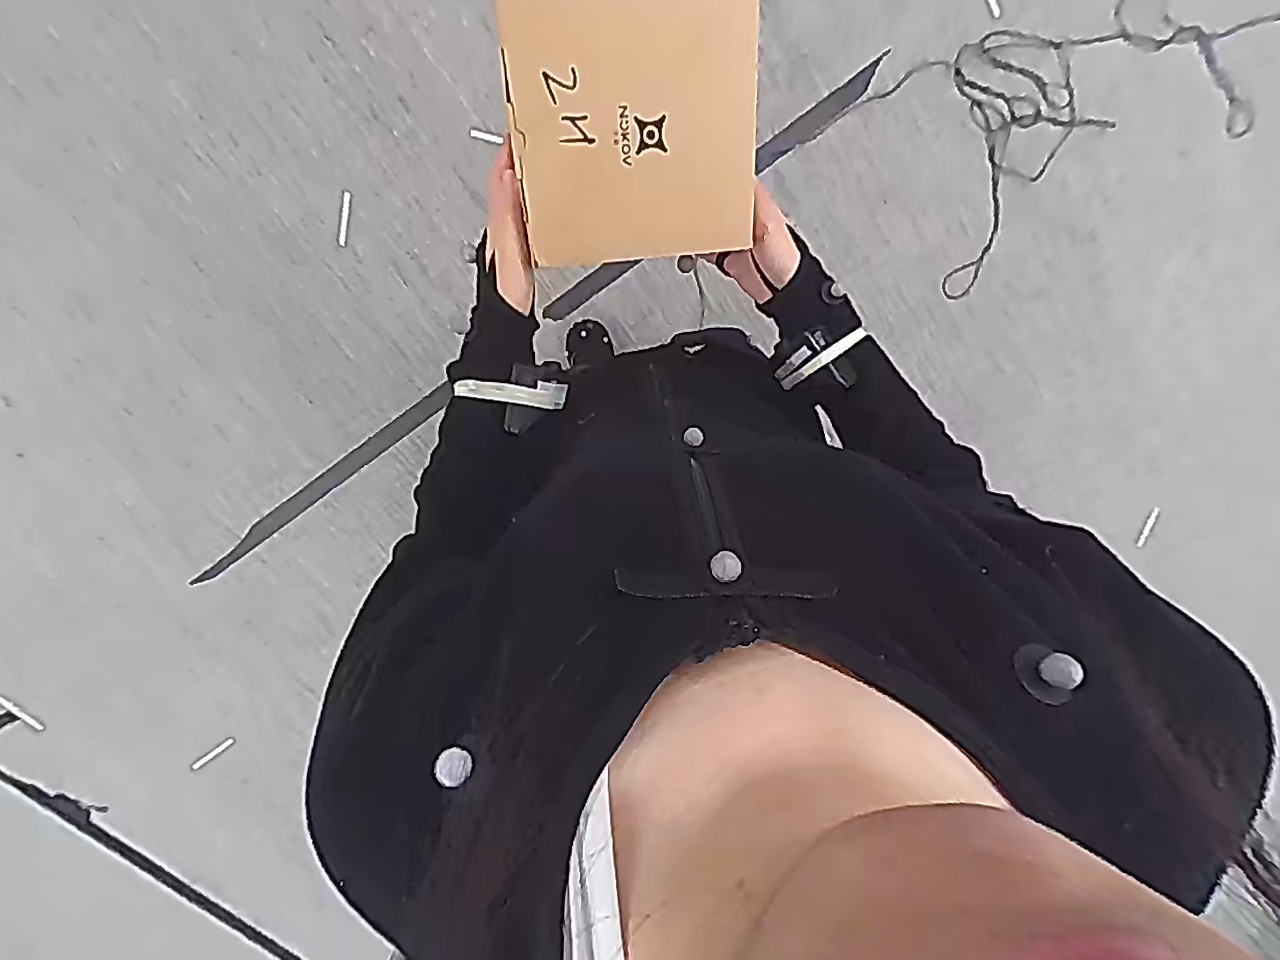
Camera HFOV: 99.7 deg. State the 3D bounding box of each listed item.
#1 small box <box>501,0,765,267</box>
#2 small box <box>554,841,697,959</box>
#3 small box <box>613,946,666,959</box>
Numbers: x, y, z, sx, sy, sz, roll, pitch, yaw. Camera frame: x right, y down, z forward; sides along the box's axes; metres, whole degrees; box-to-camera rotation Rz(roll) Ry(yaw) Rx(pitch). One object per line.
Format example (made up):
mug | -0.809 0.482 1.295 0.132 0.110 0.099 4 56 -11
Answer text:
small box | -0.013 -0.277 0.450 0.179 0.176 0.168 -8 117 -8
small box | -0.018 0.728 0.857 0.168 0.176 0.179 -34 106 3
small box | -0.004 0.767 0.699 0.168 0.176 0.179 -32 107 2
